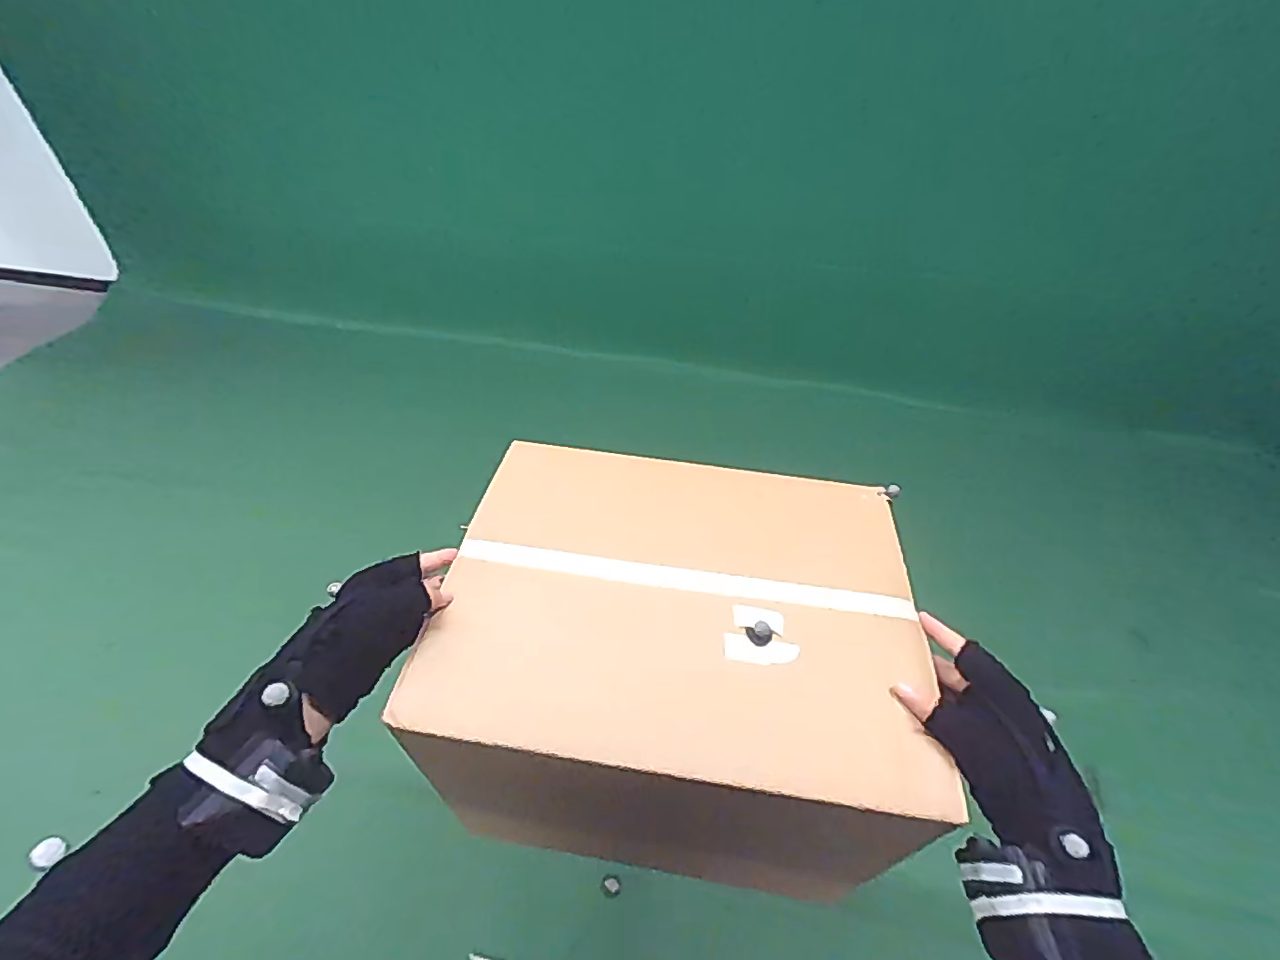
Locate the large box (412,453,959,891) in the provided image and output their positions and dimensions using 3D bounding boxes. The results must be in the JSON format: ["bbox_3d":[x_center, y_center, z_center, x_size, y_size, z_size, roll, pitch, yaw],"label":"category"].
[{"bbox_3d":[0.036,0.204,0.592,0.408,0.320,0.320,8,44,4],"label":"large box"}]
